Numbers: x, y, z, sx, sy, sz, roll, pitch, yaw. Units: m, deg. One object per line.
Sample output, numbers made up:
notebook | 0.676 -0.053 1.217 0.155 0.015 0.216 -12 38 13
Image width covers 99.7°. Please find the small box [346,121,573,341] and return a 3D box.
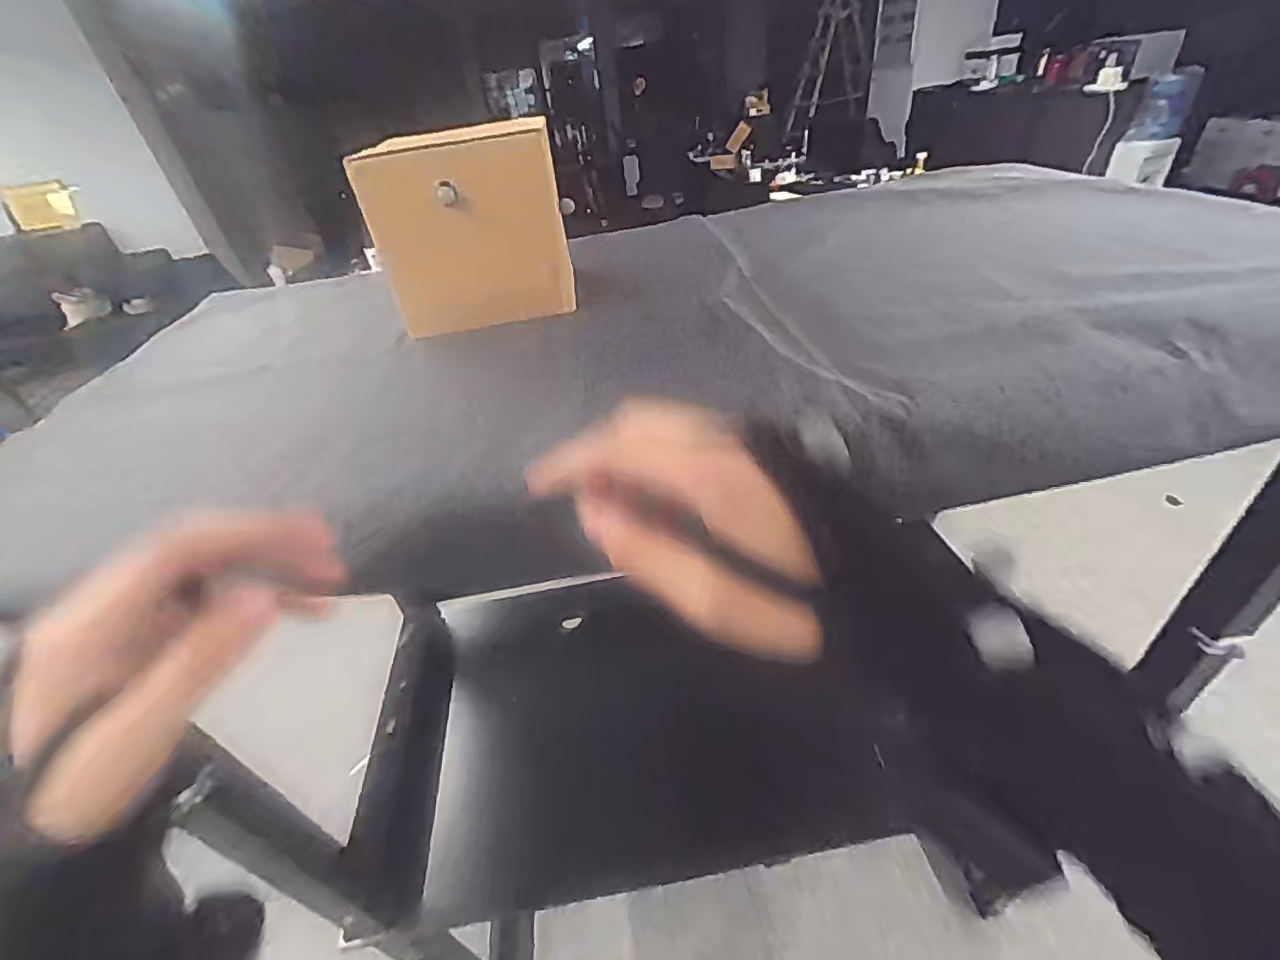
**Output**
small box | -0.169 -0.267 0.579 0.179 0.176 0.168 -10 37 -1
